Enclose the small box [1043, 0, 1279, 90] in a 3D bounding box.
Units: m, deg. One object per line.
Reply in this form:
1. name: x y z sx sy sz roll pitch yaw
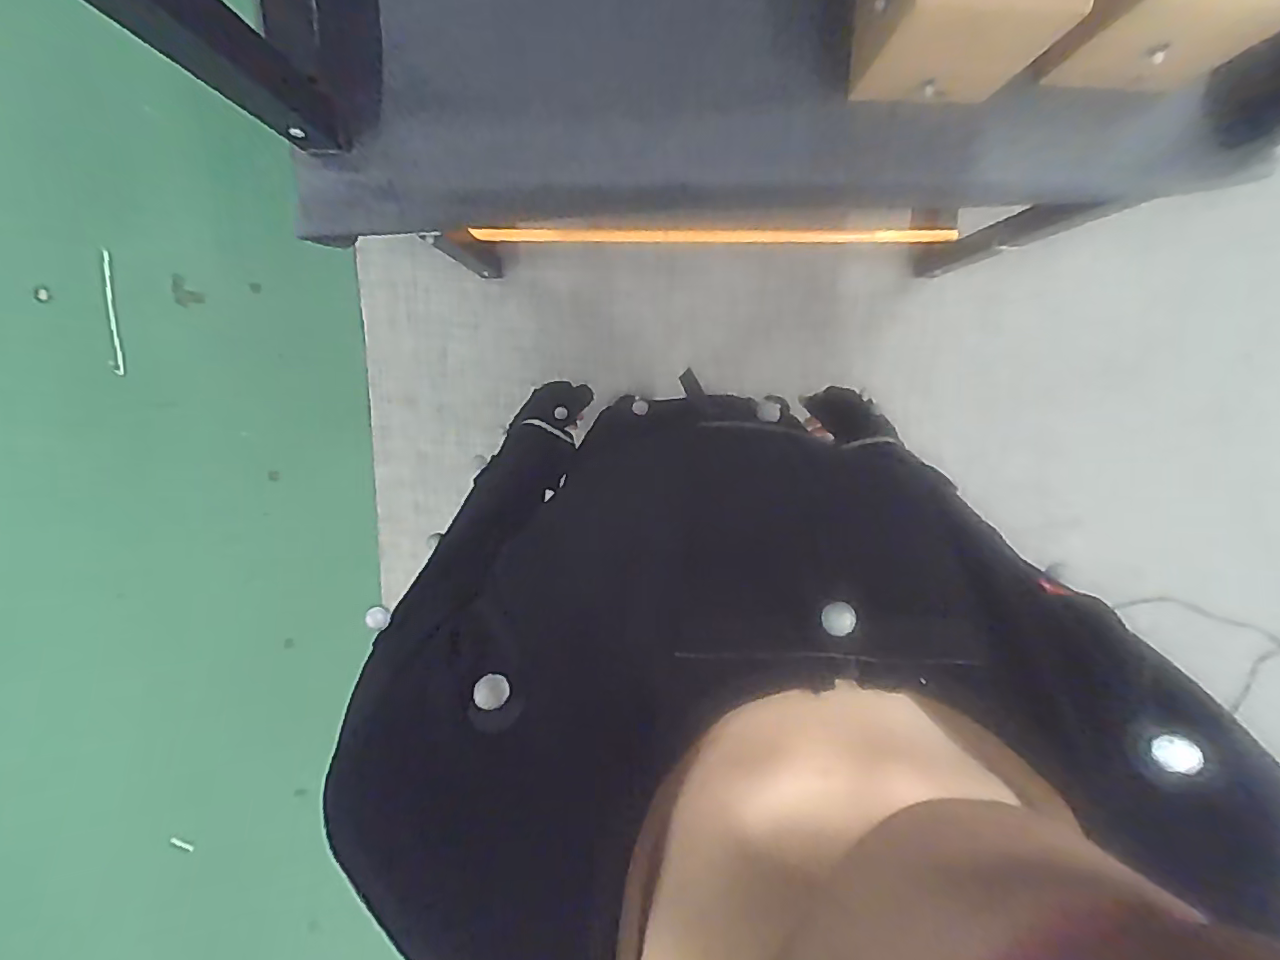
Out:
1. small box: 0.567 -0.545 0.563 0.168 0.176 0.179 4 99 0
